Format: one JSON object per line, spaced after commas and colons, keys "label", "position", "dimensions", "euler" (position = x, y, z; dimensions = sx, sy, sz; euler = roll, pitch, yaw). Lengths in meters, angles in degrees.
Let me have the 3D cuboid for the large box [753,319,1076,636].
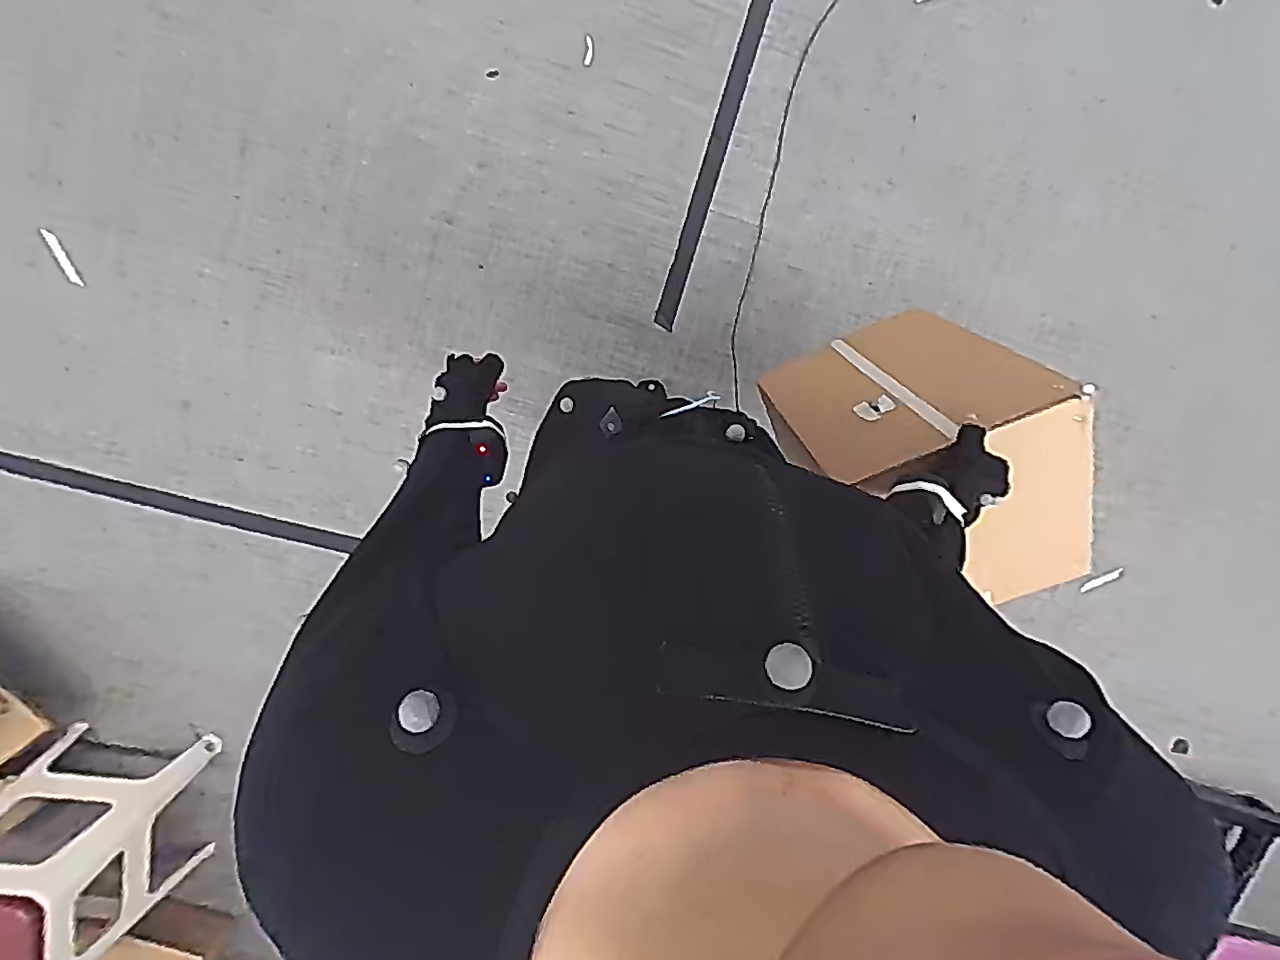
{"label": "large box", "position": [0.425, -0.023, 0.915], "dimensions": [0.320, 0.408, 0.320], "euler": [-22, 121, 9]}
